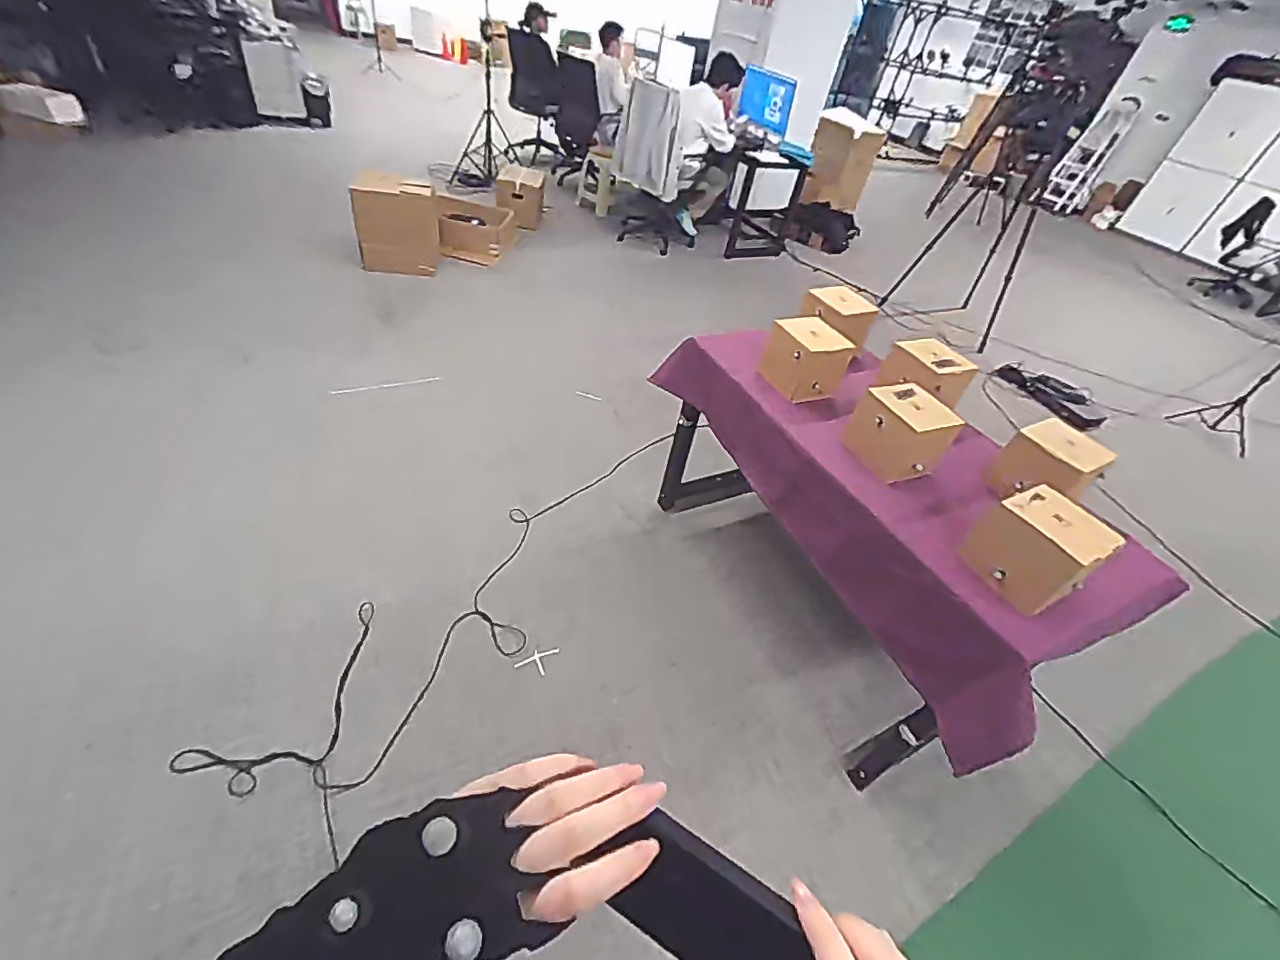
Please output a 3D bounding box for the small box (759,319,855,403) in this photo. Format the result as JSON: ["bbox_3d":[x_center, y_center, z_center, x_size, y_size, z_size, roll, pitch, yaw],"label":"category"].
[{"bbox_3d":[0.469,-0.342,1.550,0.168,0.176,0.179,-12,48,-25],"label":"small box"}]

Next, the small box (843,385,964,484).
[{"bbox_3d":[0.643,-0.114,1.343,0.168,0.176,0.179,-11,48,-24],"label":"small box"}]

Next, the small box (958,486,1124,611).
[{"bbox_3d":[0.802,0.144,1.097,0.168,0.176,0.179,-13,48,-27],"label":"small box"}]

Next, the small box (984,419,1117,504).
[{"bbox_3d":[0.996,-0.023,1.329,0.179,0.176,0.168,-16,48,-27],"label":"small box"}]
